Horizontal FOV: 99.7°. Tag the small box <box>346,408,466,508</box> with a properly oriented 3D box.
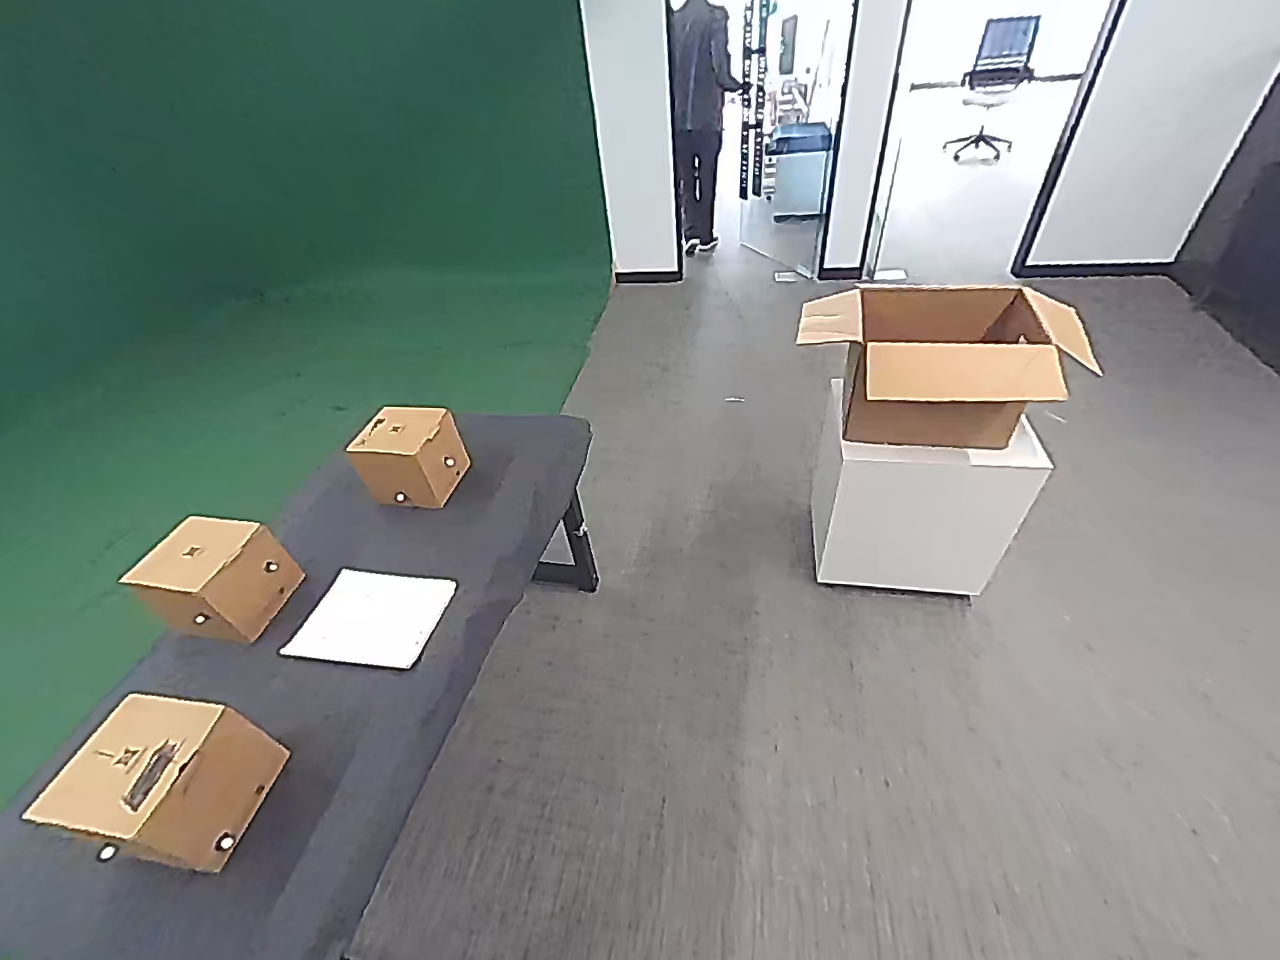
[{"bbox_3d":[-0.538,-0.050,1.275,0.179,0.176,0.168,5,44,11],"label":"small box"}]

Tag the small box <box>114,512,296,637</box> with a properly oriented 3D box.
[{"bbox_3d":[-0.815,0.183,1.038,0.179,0.176,0.168,3,43,11],"label":"small box"}]

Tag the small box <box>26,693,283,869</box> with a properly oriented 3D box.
[{"bbox_3d":[-0.666,0.431,0.772,0.179,0.176,0.168,3,43,11],"label":"small box"}]
